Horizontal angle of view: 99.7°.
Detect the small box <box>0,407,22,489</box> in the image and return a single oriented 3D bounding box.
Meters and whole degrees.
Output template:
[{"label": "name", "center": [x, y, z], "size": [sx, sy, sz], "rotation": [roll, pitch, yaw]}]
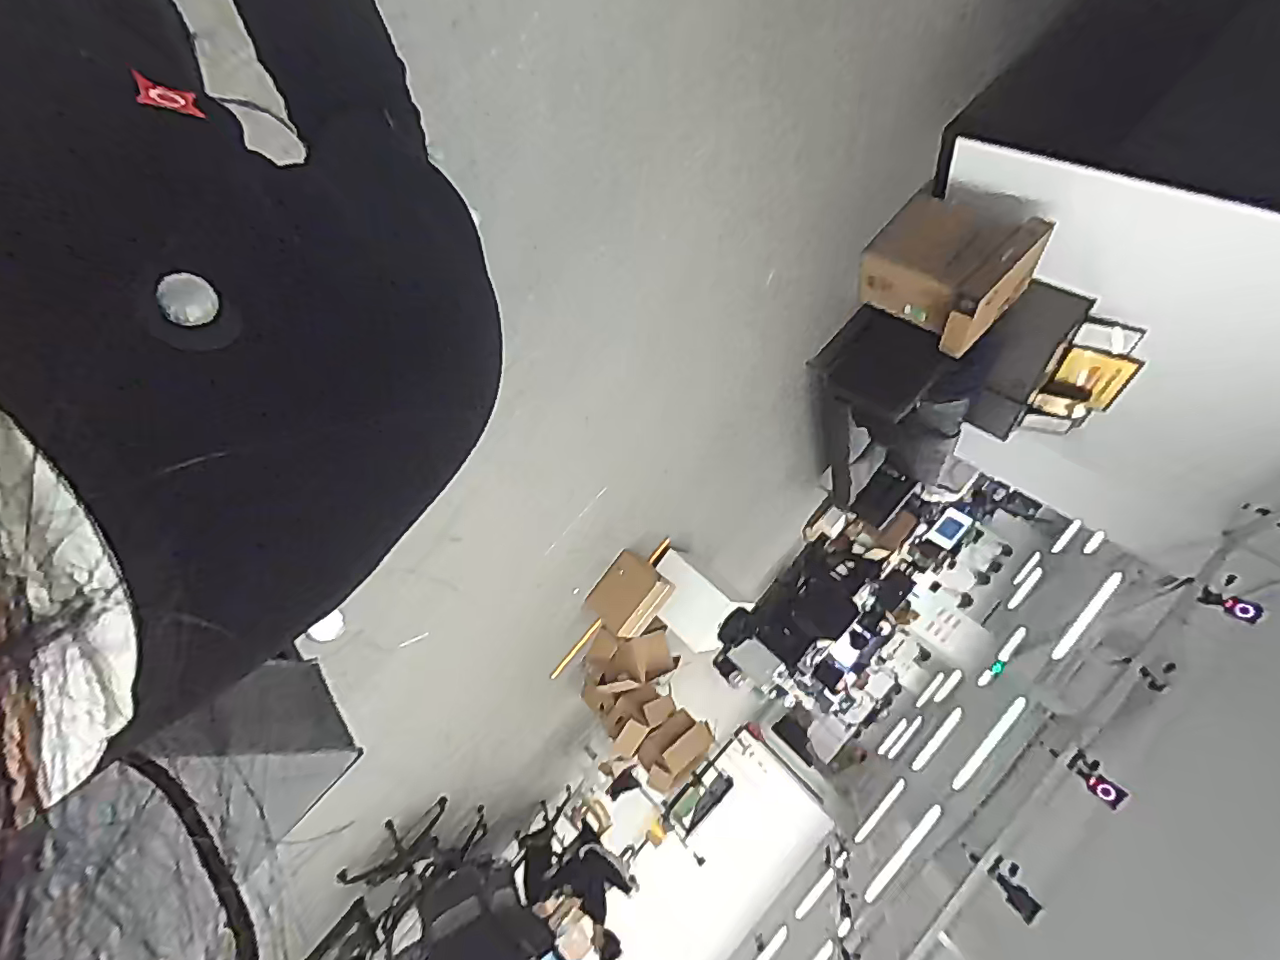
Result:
[{"label": "small box", "center": [-1.298, -0.048, 0.992], "size": [0.179, 0.176, 0.168], "rotation": [-52, 151, 5]}]
